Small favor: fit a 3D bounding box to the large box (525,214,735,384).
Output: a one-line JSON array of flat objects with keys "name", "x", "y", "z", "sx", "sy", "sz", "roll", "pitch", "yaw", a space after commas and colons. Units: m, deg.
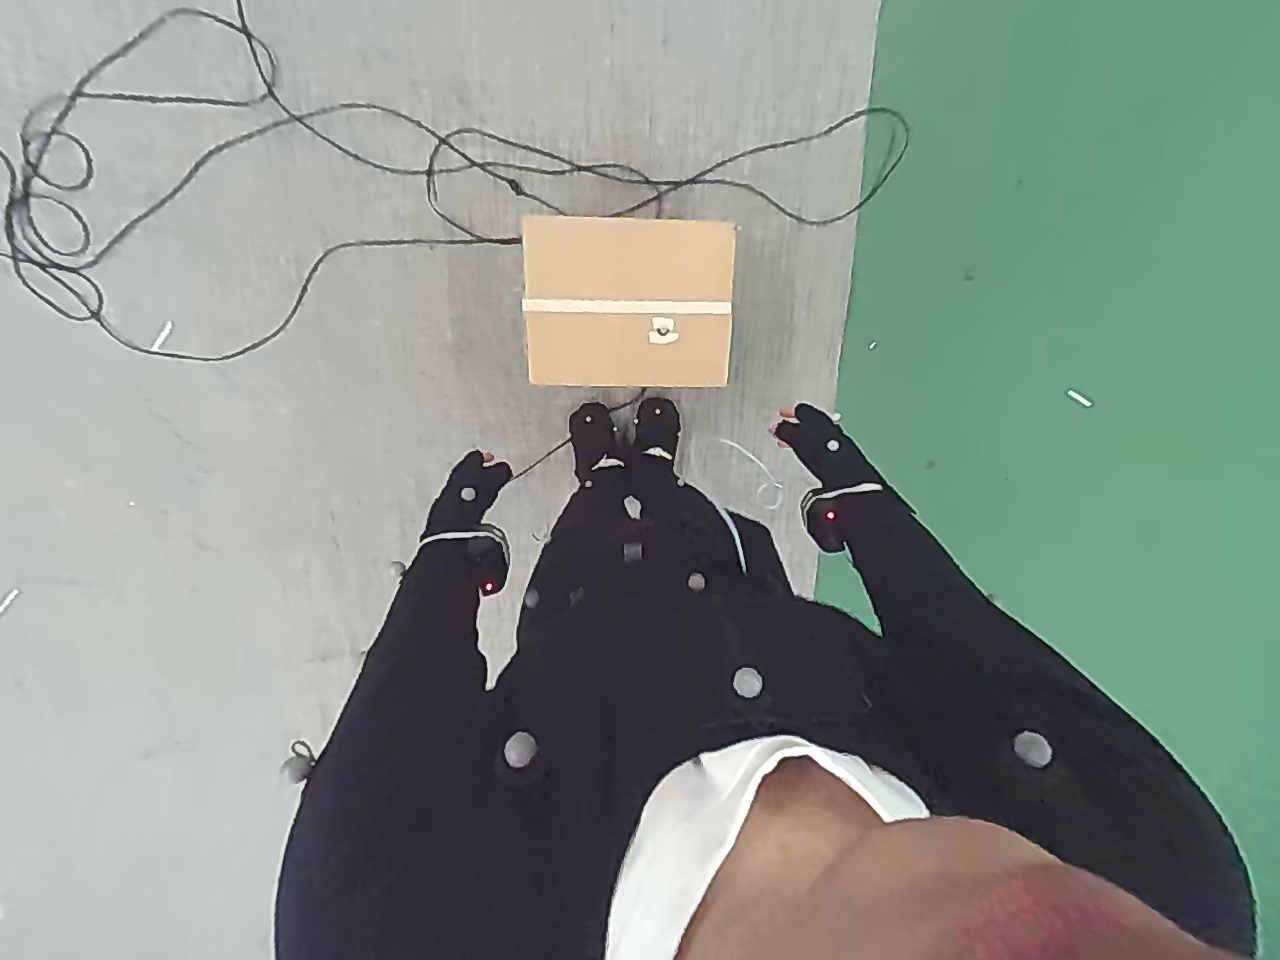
[{"name": "large box", "x": -0.027, "y": -0.387, "z": 1.196, "sx": 0.408, "sy": 0.320, "sz": 0.320, "roll": 0, "pitch": 107, "yaw": -4}]
